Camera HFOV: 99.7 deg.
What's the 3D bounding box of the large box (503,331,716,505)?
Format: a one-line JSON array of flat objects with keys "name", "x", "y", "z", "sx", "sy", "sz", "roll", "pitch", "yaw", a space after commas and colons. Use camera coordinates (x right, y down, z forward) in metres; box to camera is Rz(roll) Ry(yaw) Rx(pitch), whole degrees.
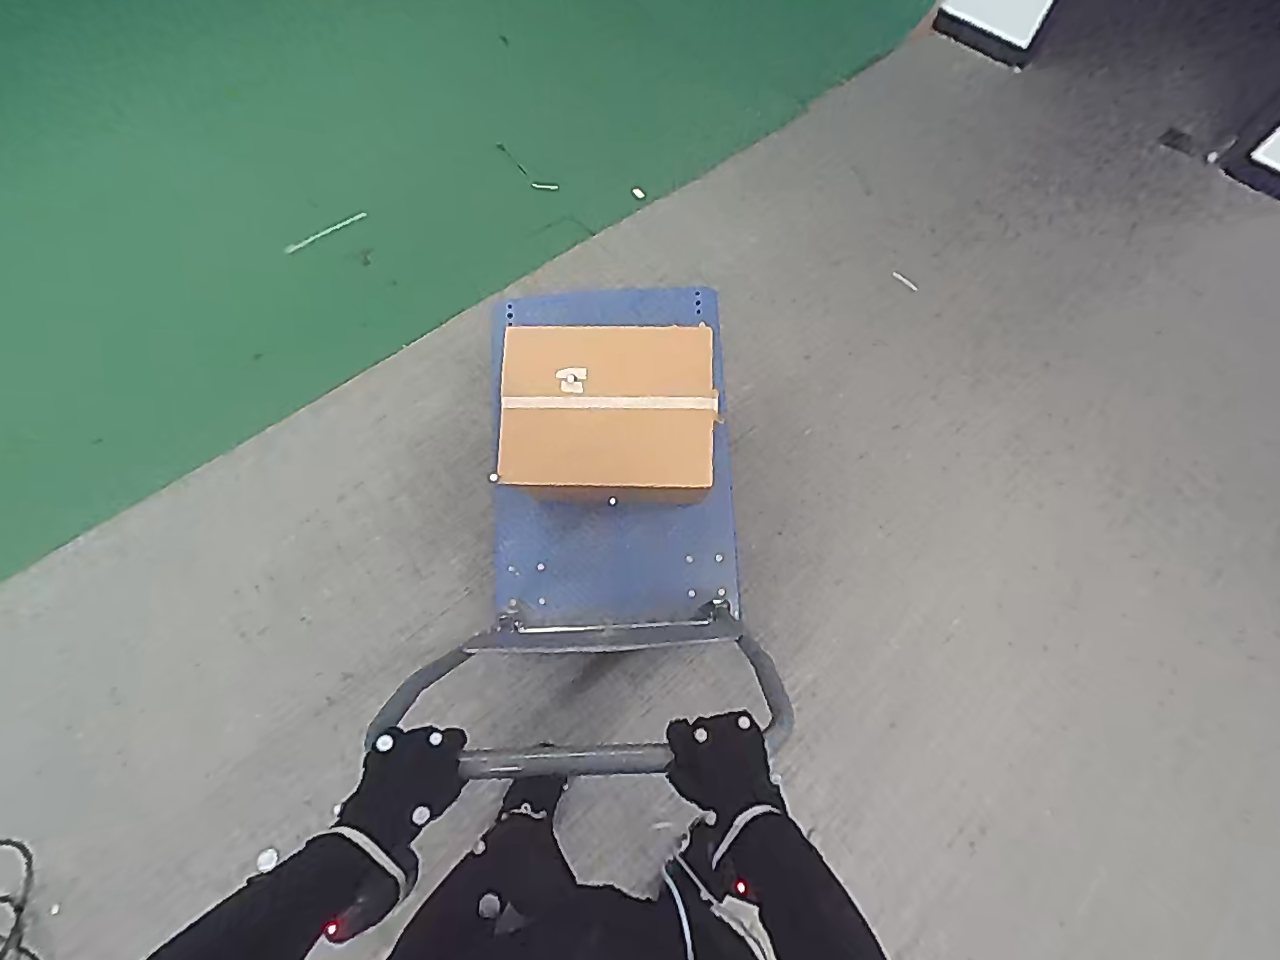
[{"name": "large box", "x": -0.049, "y": -0.110, "z": 1.170, "sx": 0.408, "sy": 0.320, "sz": 0.320, "roll": 0, "pitch": 81, "yaw": 4}]
